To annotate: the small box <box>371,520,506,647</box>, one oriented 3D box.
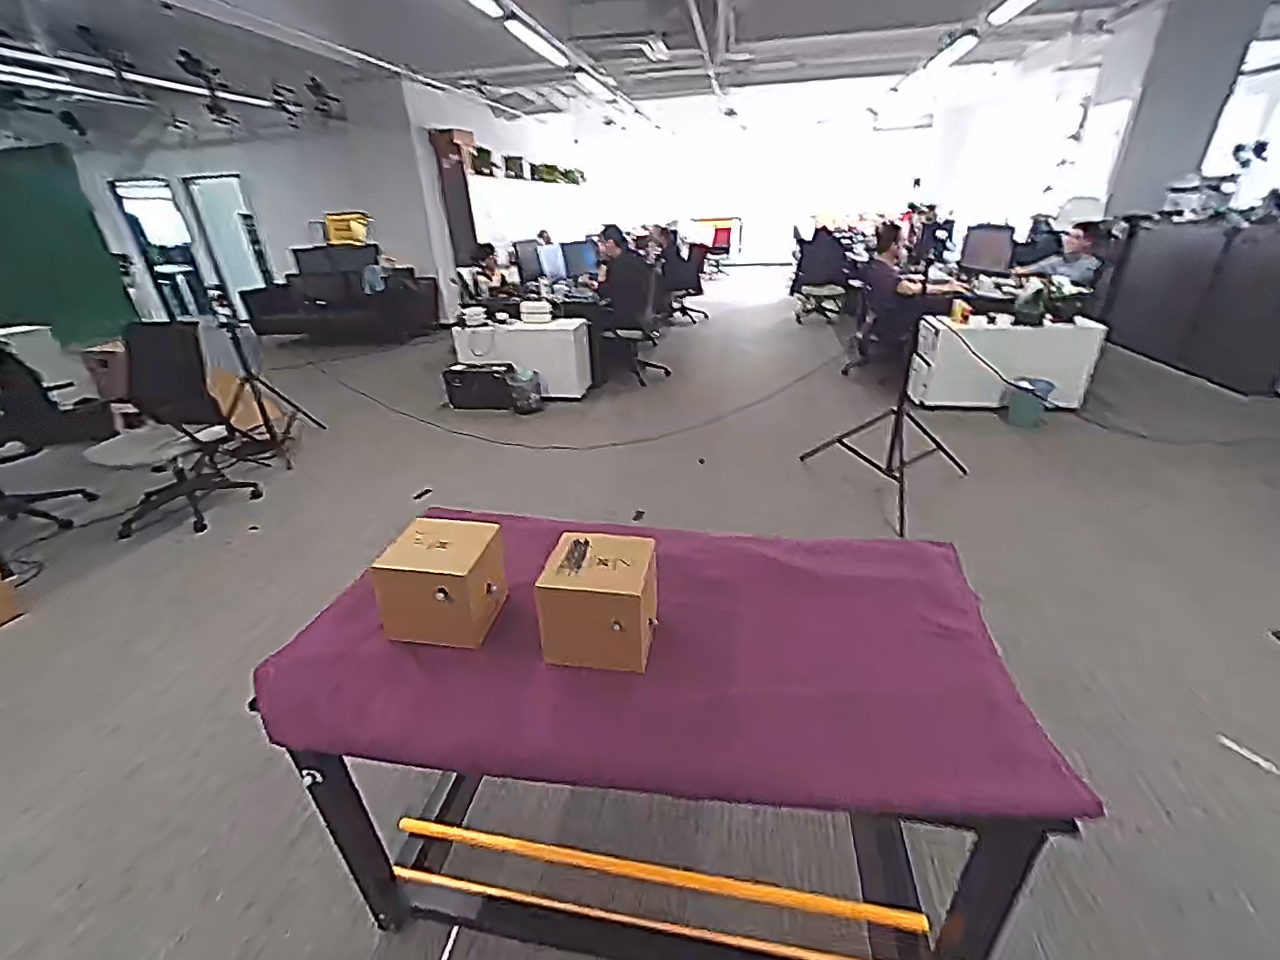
[{"bbox_3d":[-0.366,0.195,1.023,0.179,0.176,0.168,4,27,7],"label":"small box"}]
